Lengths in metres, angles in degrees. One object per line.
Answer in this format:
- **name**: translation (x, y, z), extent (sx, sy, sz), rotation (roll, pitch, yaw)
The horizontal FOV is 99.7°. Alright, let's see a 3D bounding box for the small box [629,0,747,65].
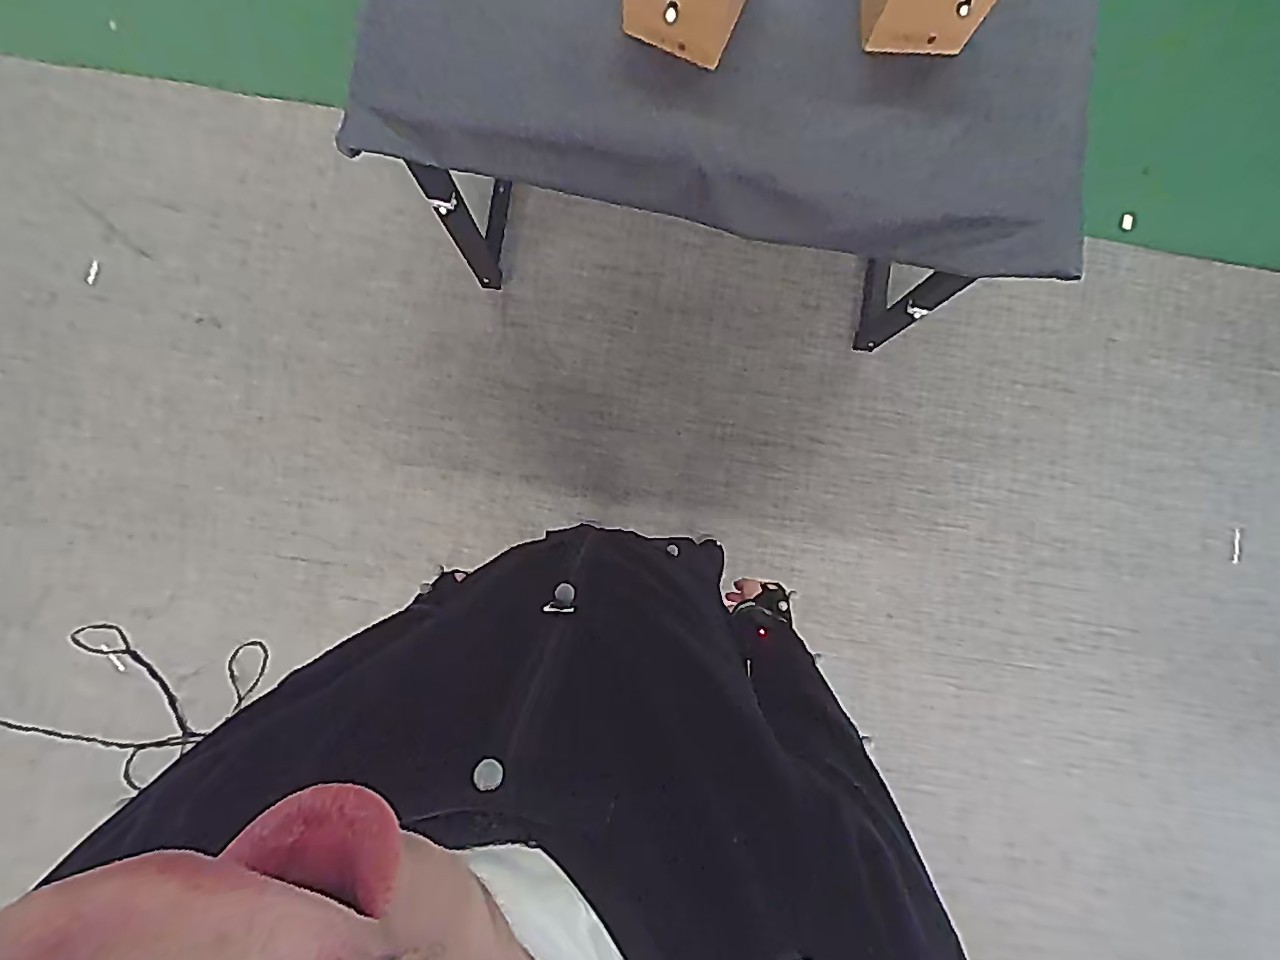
- **small box**: translation (0.087, -0.790, 0.818), extent (0.168, 0.176, 0.179), rotation (23, 85, -1)

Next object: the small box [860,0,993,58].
- **small box**: translation (0.458, -0.804, 0.838), extent (0.168, 0.176, 0.179), rotation (1, 85, -4)
